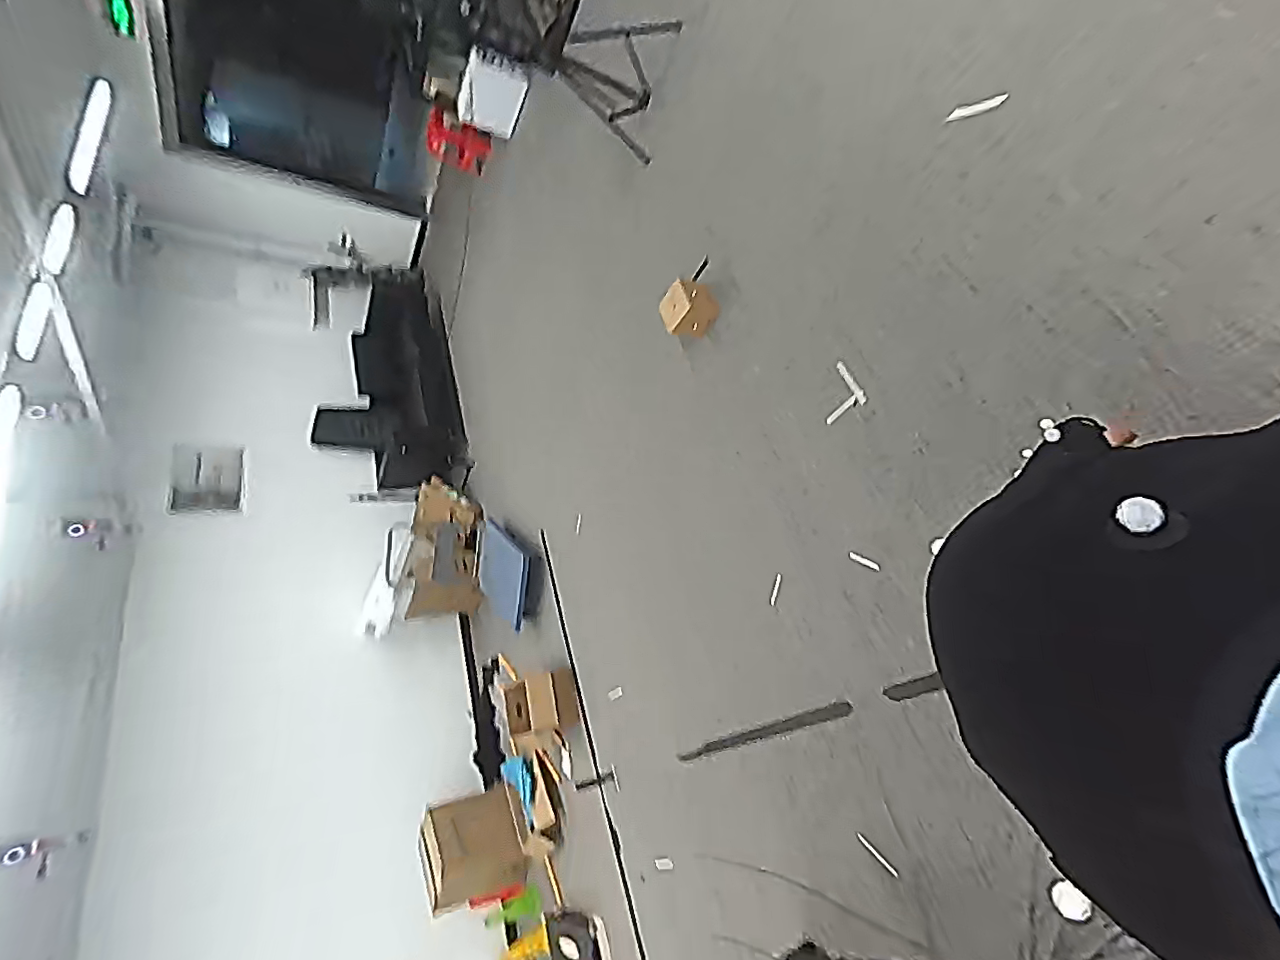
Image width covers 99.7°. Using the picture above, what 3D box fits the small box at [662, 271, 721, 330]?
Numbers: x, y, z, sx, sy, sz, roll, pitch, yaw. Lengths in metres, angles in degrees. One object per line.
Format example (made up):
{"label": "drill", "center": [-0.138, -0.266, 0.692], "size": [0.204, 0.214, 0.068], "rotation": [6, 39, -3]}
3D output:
{"label": "small box", "center": [0.226, -0.768, 2.339], "size": [0.168, 0.176, 0.179], "rotation": [-45, 53, 46]}
